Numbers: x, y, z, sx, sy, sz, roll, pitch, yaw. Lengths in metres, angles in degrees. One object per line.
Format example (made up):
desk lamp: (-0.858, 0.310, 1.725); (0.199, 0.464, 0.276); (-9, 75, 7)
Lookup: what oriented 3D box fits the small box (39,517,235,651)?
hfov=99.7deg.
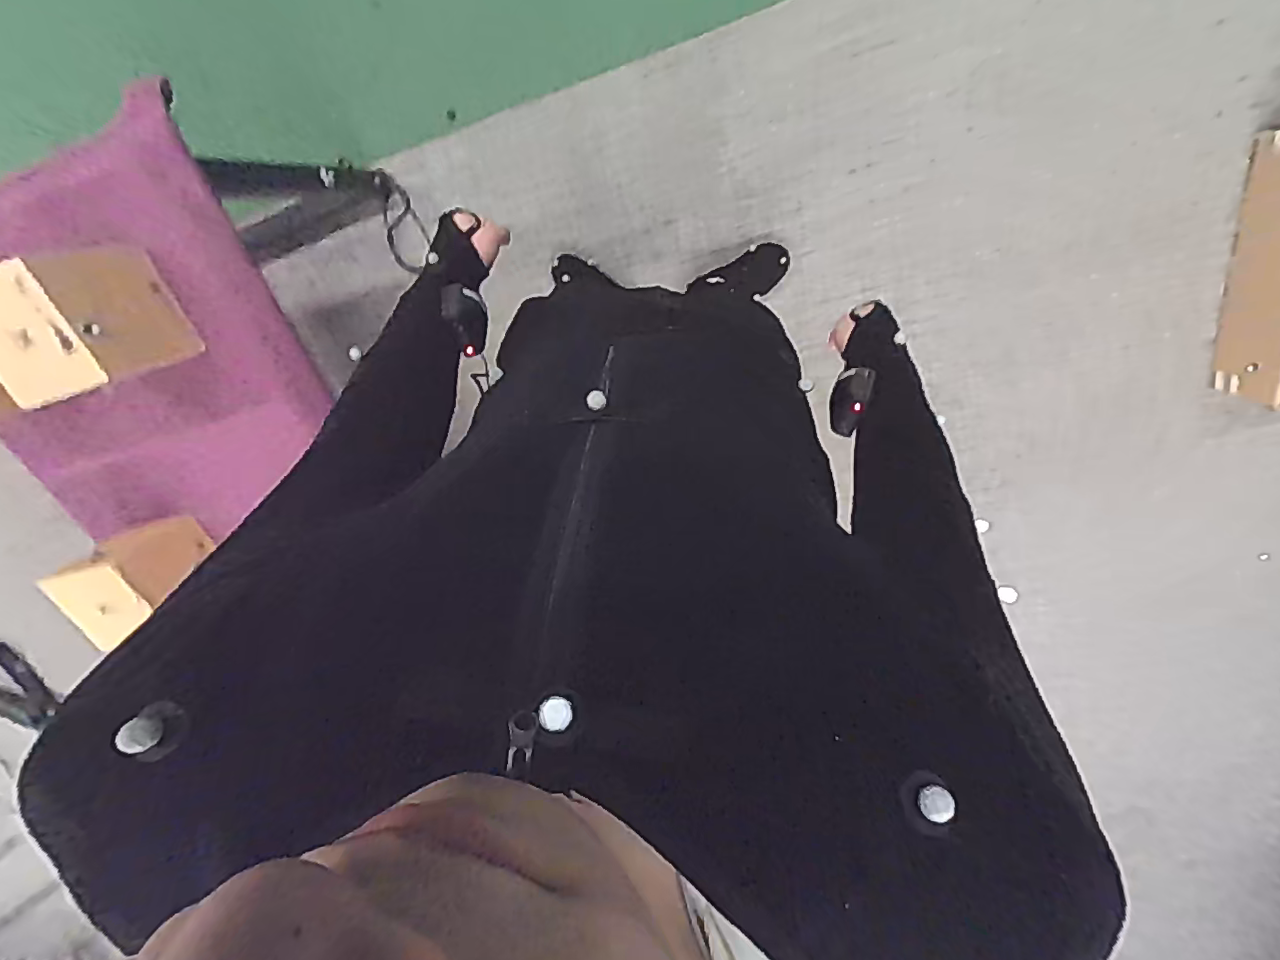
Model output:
small box: (-0.935, 0.193, 1.026); (0.179, 0.176, 0.168); (-14, 115, 12)

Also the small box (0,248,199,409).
small box: (-0.813, -0.224, 0.787); (0.179, 0.176, 0.168); (-12, 117, 14)
